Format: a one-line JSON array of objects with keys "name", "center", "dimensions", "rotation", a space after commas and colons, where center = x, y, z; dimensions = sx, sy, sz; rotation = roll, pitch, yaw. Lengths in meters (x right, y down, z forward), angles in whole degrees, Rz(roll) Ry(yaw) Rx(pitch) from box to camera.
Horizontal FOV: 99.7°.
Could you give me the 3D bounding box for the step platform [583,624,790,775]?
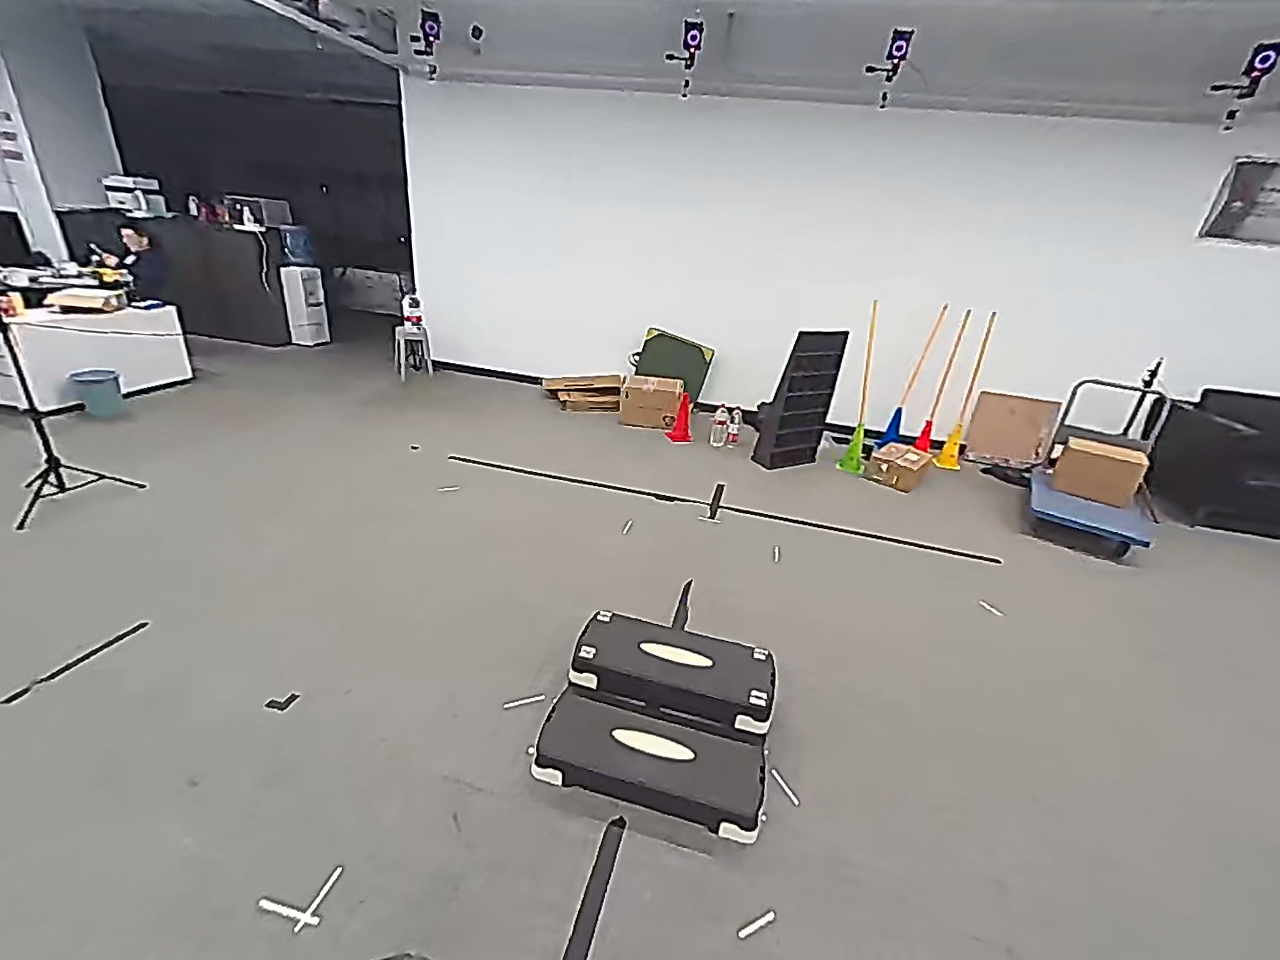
[{"name": "step platform", "center": [0.154, 0.721, 1.833], "dimensions": [0.684, 0.204, 0.286], "rotation": [13, 24, 15]}]
